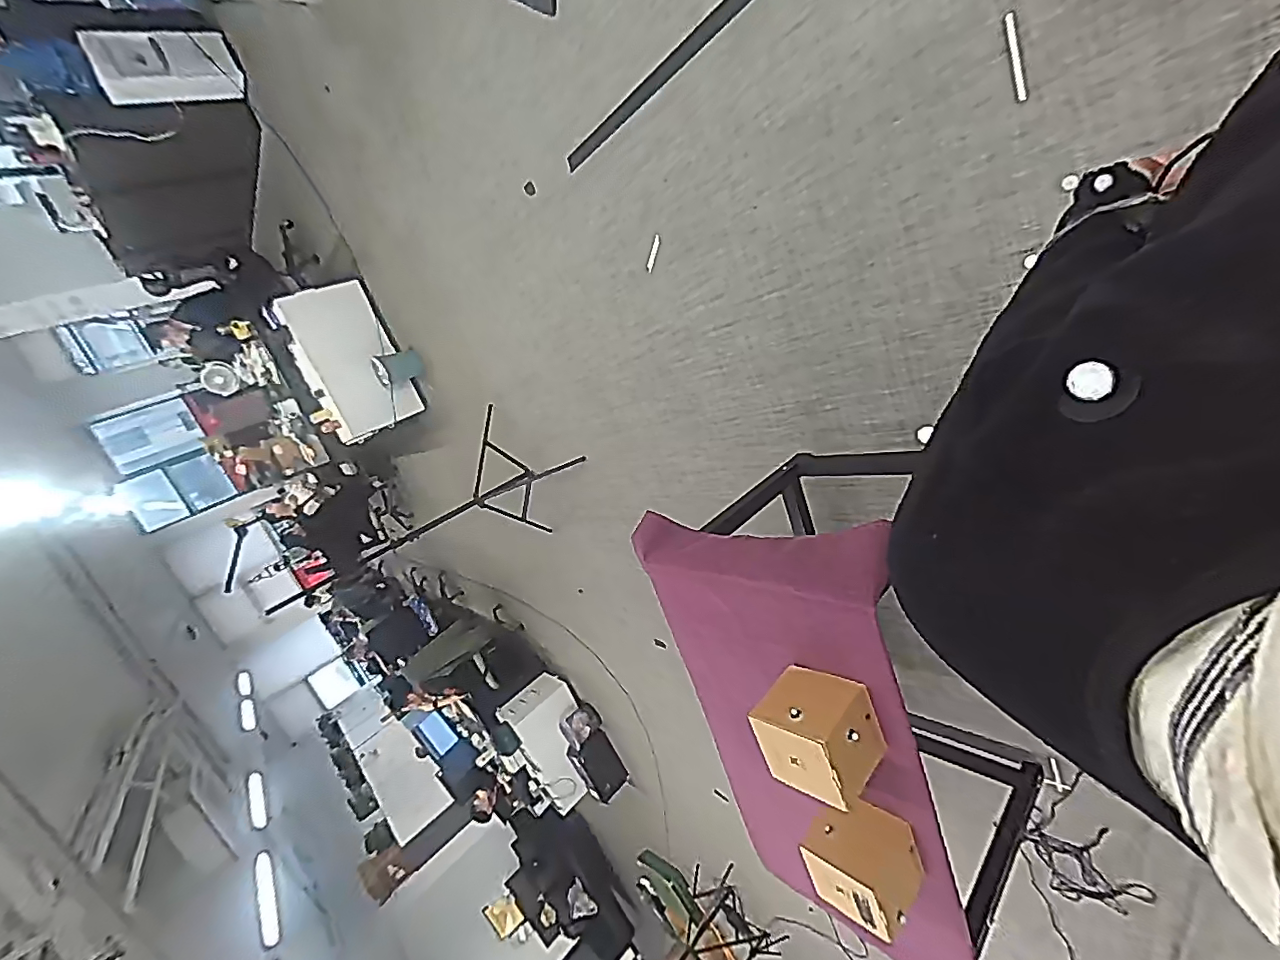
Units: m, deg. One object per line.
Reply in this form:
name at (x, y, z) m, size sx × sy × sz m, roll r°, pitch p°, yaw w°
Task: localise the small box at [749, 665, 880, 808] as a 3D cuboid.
small box at (0.357, 0.498, 1.083) m, size 0.179 × 0.176 × 0.168 m, roll -3°, pitch 114°, yaw 53°
